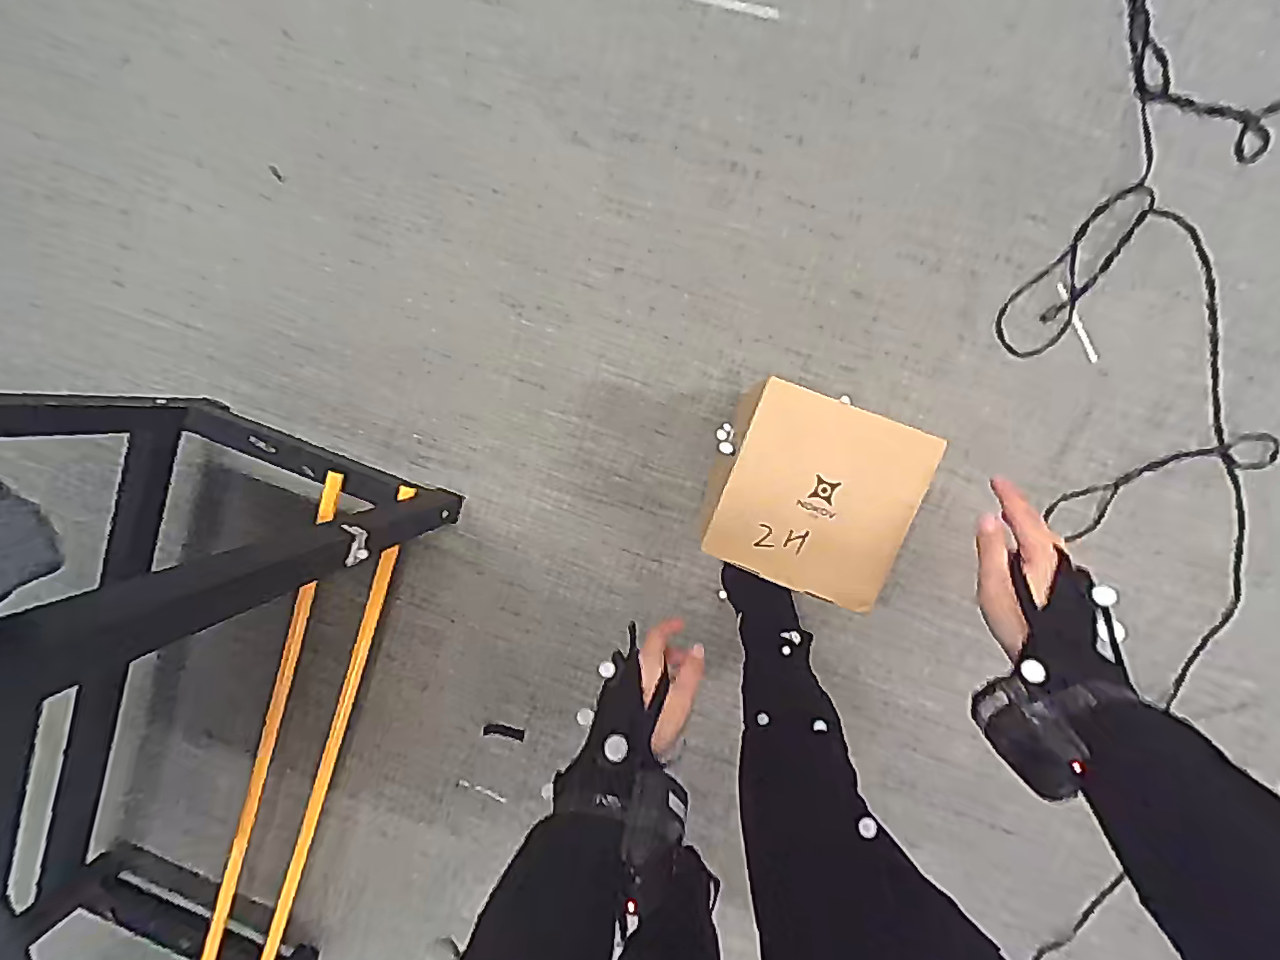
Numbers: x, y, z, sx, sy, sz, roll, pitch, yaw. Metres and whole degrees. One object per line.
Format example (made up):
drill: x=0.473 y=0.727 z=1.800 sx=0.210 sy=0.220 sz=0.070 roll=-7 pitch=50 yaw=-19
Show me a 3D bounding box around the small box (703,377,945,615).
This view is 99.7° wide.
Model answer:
small box: x=0.171 y=0.006 z=0.566 sx=0.168 sy=0.176 sz=0.179 roll=21 pitch=99 yaw=5
